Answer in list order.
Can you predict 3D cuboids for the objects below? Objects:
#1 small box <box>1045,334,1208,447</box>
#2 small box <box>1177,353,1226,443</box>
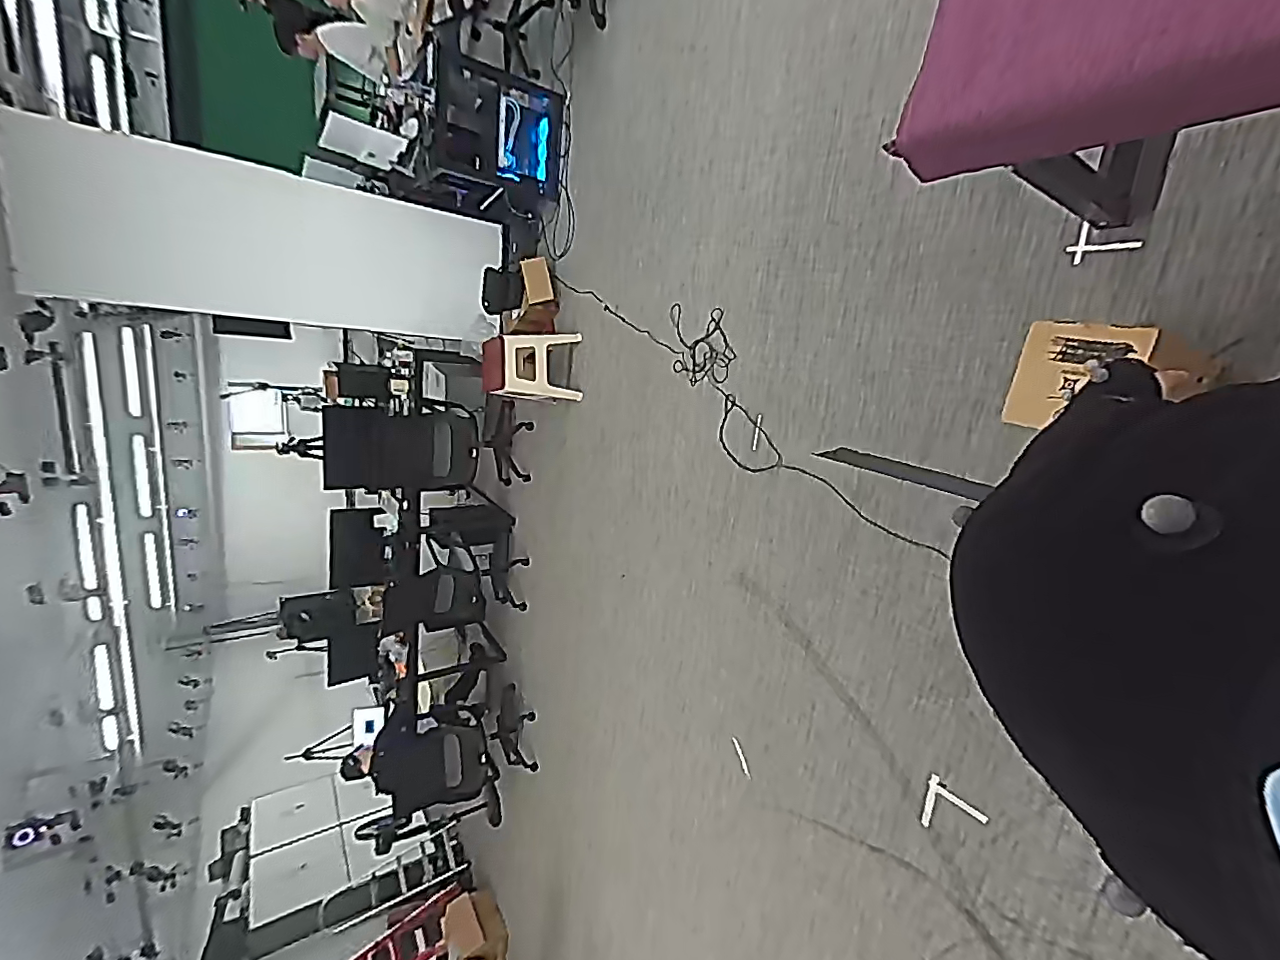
[{"bbox_3d":[0.890,-0.164,0.989,0.168,0.176,0.179,26,114,52],"label":"small box"},{"bbox_3d":[1.021,-0.177,1.088,0.168,0.176,0.179,33,119,49],"label":"small box"}]
